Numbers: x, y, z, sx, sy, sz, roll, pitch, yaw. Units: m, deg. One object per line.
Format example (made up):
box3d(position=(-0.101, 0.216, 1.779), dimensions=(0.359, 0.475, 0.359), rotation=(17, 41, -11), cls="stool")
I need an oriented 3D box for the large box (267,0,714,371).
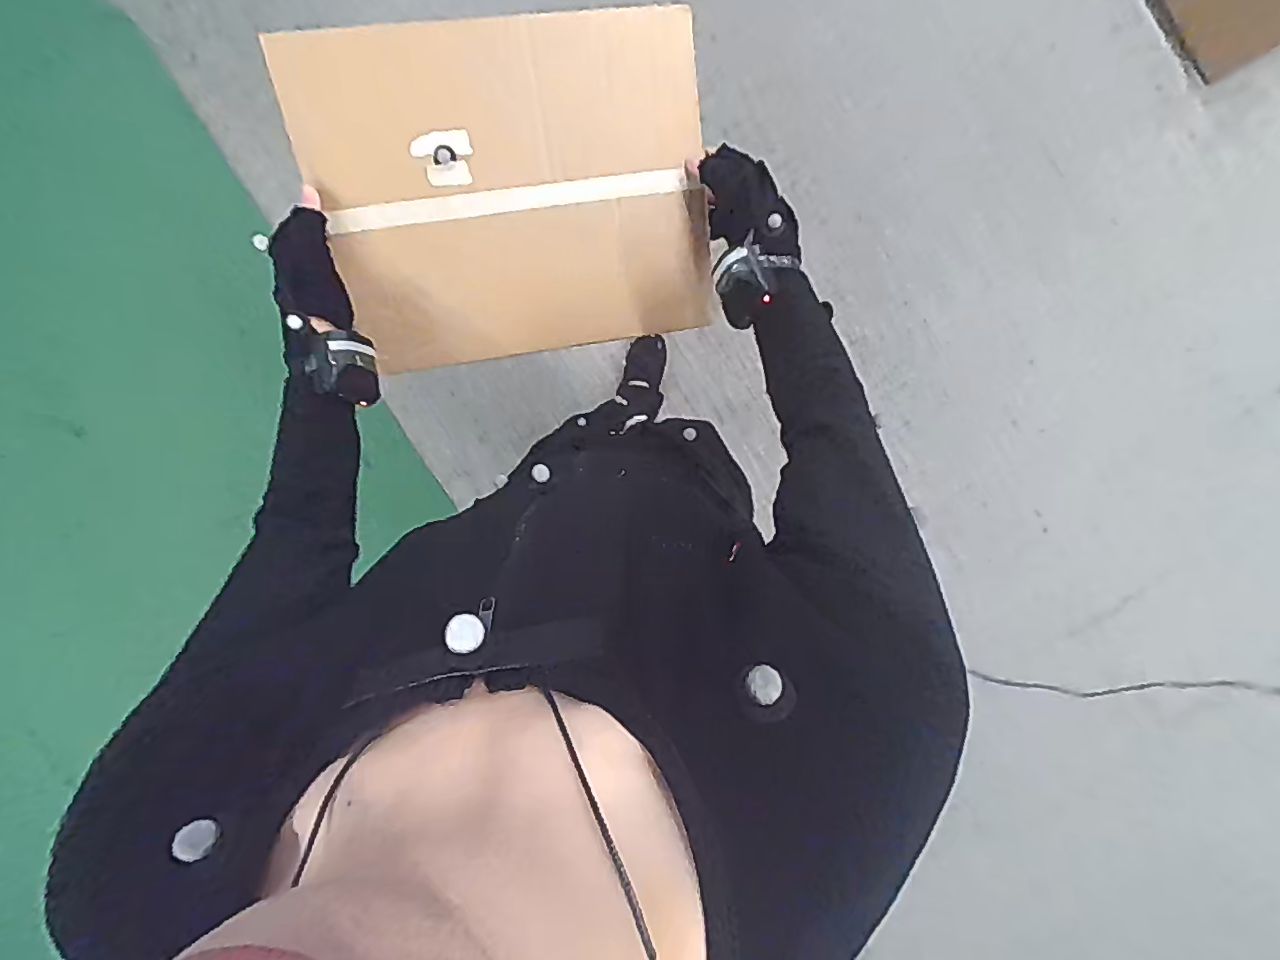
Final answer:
box3d(position=(-0.148, -0.350, 0.697), dimensions=(0.408, 0.320, 0.320), rotation=(-10, 112, -7), cls="large box")
